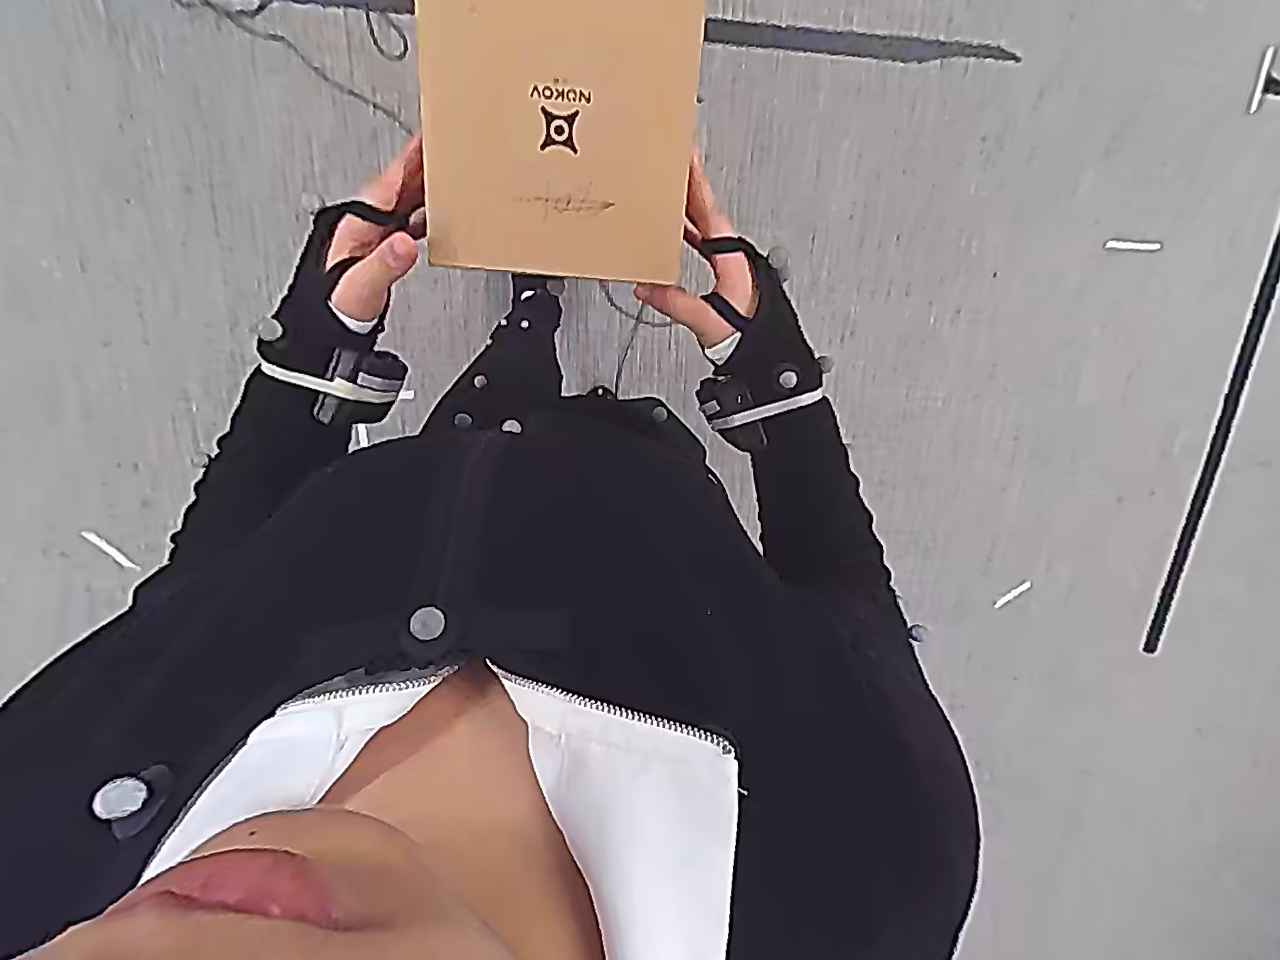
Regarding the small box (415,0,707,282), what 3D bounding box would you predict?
[{"bbox_3d":[-0.054,-0.246,0.398,0.168,0.176,0.179,4,111,-4],"label":"small box"}]
